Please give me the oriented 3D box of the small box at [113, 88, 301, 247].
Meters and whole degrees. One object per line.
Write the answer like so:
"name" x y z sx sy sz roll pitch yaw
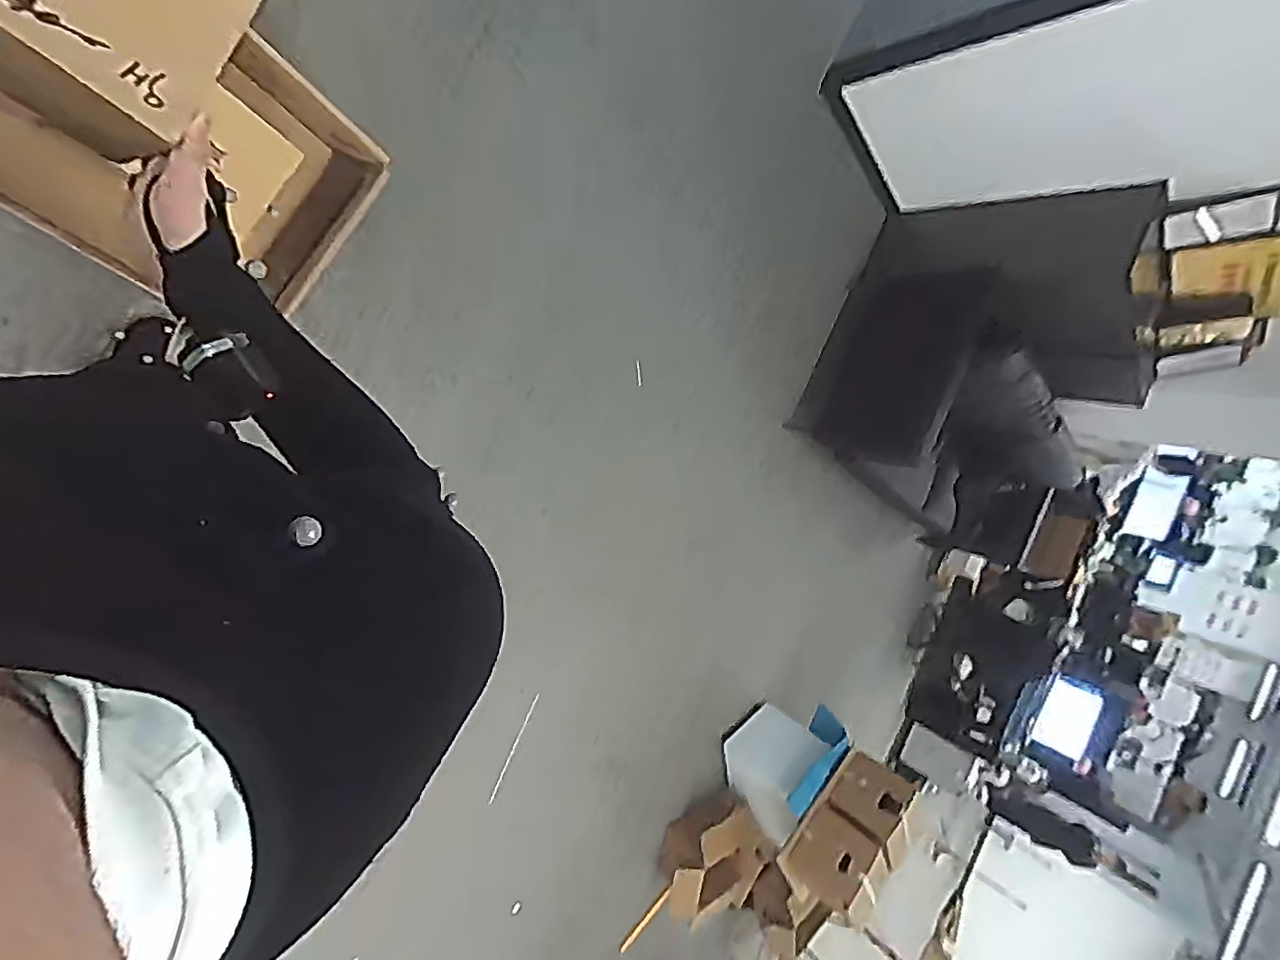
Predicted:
"small box" -0.663 -0.483 0.826 0.168 0.176 0.179 36 82 -43

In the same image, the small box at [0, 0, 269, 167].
"small box" -0.417 -0.361 0.389 0.168 0.176 0.179 32 78 -57
